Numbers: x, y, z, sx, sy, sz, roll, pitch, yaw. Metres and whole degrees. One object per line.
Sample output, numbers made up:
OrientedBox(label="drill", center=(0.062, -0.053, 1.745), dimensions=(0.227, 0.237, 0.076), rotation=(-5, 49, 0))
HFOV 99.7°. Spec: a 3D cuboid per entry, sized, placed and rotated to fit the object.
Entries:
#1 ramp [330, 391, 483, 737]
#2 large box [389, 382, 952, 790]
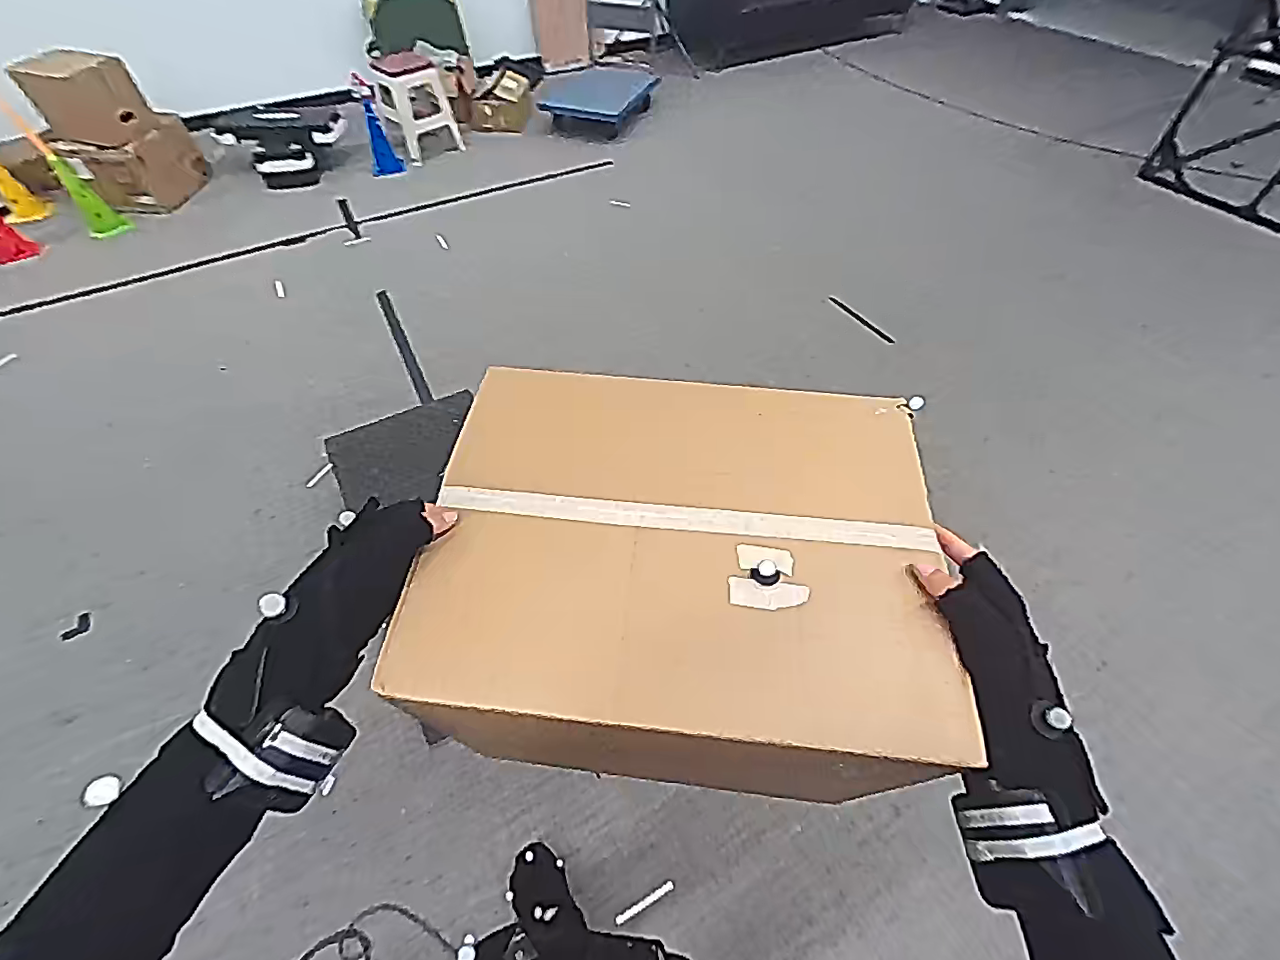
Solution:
OrientedBox(label="ramp", center=(-0.552, 0.173, 1.631), dimensions=(0.509, 0.206, 0.991), rotation=(-25, 56, -19))
OrientedBox(label="large box", center=(0.028, 0.123, 0.580), dimensions=(0.408, 0.320, 0.320), rotation=(5, 56, 3))
